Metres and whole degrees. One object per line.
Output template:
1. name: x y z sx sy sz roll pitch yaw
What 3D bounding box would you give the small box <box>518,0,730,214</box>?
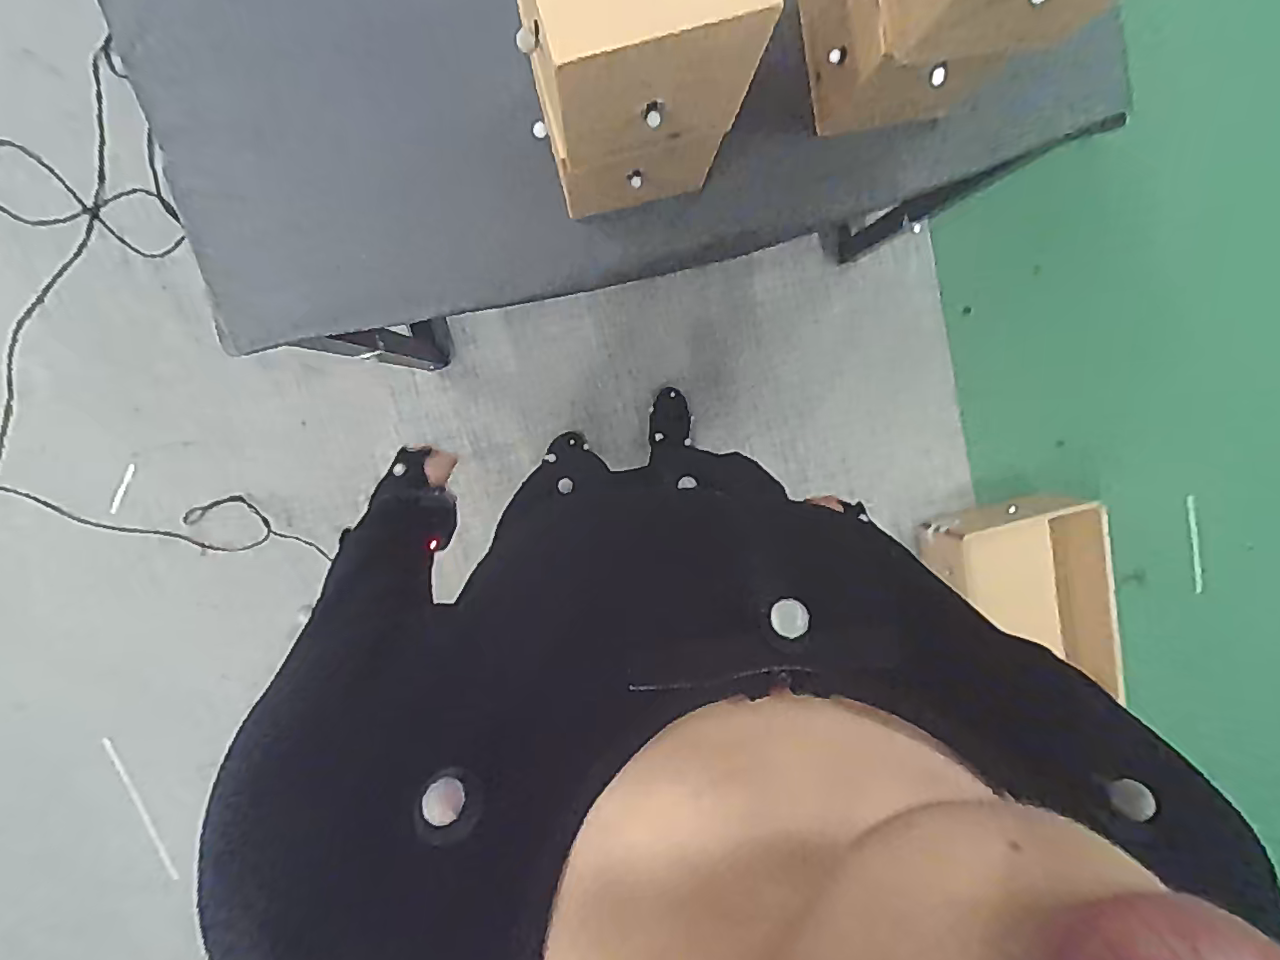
1. small box: -0.019 -0.417 0.586 0.179 0.176 0.168 -15 97 0

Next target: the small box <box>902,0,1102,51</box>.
1. small box: 0.330 -0.490 0.437 0.179 0.176 0.168 -9 98 -2

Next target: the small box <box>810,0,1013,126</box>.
1. small box: 0.303 -0.525 0.596 0.179 0.176 0.168 -12 99 -3

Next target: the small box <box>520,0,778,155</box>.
1. small box: -0.009 -0.388 0.424 0.168 0.176 0.179 -16 97 -2
